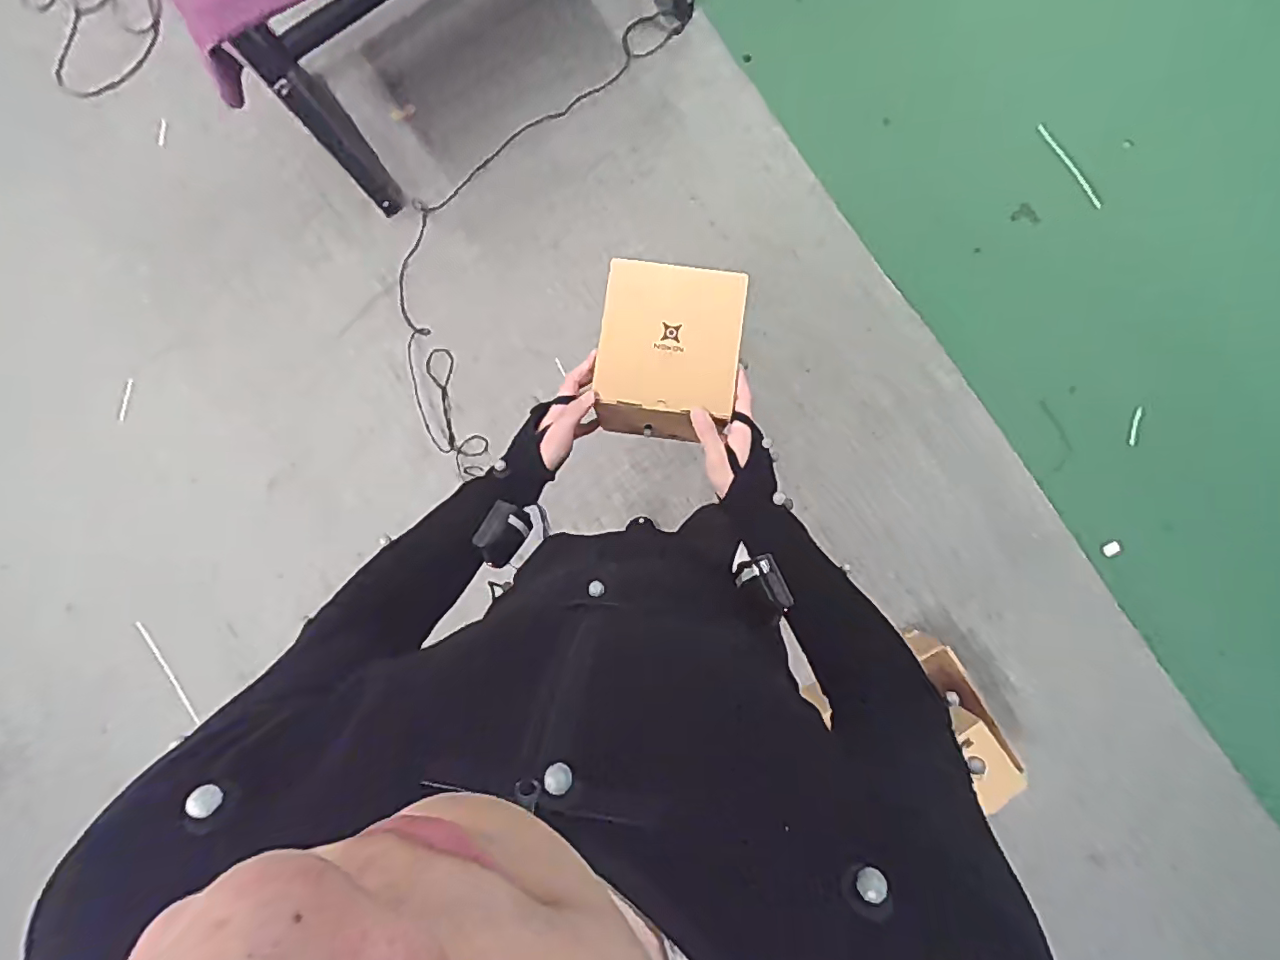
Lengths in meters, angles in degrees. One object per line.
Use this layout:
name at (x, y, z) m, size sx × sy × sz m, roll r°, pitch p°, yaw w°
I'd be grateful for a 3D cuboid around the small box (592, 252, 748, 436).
small box at (0.034, -0.164, 0.703) m, size 0.168 × 0.176 × 0.179 m, roll 7°, pitch 86°, yaw 0°

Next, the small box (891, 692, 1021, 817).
small box at (0.747, 0.647, 1.299) m, size 0.168 × 0.176 × 0.179 m, roll -34°, pitch 88°, yaw 0°
